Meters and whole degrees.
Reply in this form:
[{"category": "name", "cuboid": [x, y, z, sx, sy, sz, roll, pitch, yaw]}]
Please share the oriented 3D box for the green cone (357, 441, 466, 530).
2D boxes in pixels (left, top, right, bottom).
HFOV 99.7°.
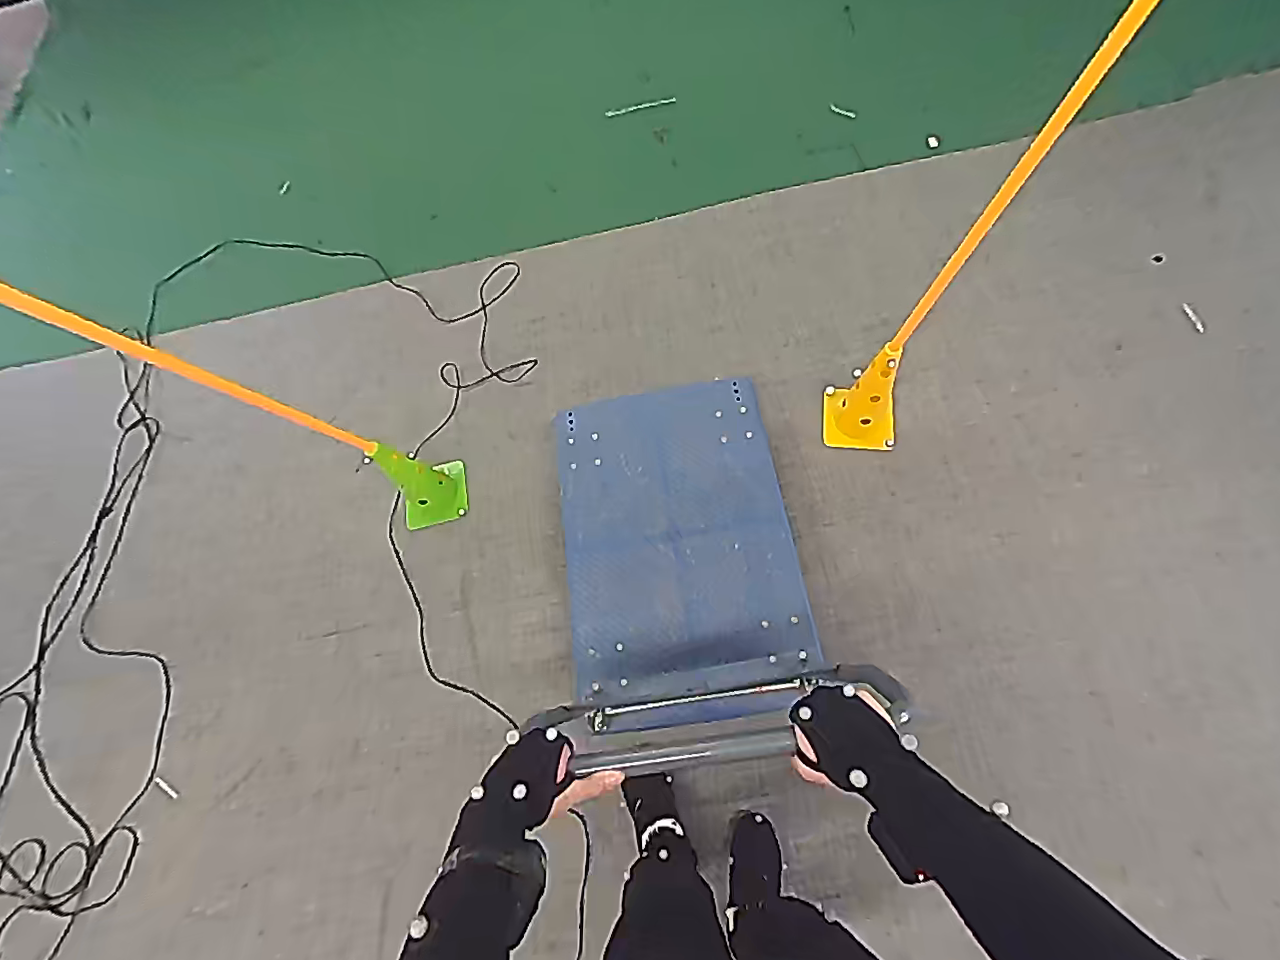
[{"category": "green cone", "cuboid": [-0.676, -0.020, 1.548, 0.202, 0.368, 0.200, -15, 66, 3]}]
